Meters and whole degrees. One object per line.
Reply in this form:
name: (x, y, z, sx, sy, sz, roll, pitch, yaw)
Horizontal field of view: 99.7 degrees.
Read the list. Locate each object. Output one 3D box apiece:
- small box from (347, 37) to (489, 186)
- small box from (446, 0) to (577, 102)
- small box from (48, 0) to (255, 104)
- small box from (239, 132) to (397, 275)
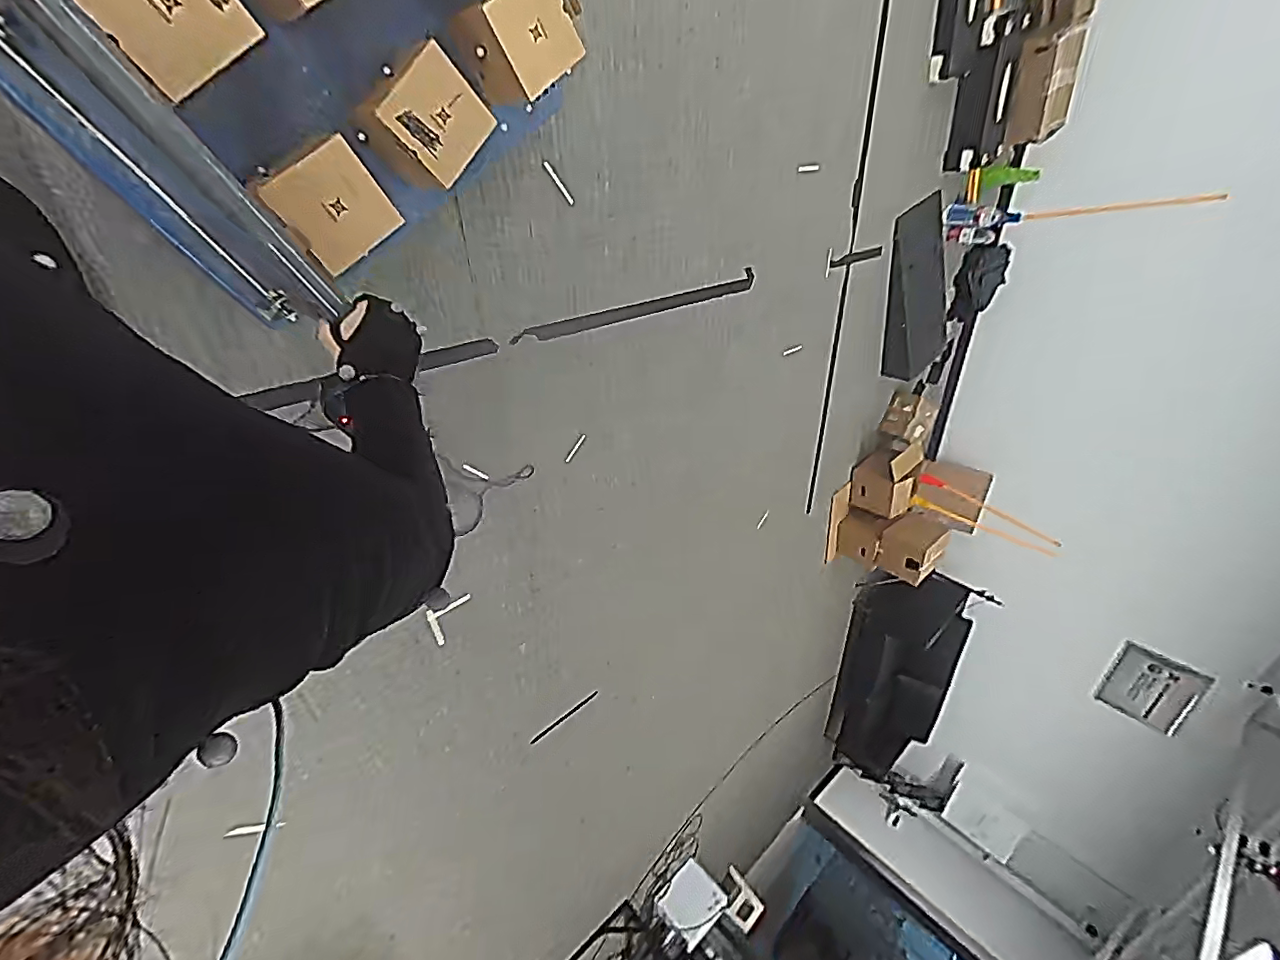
small box: (-0.438, -0.705, 1.054, 0.179, 0.176, 0.168, -57, 140, -6)
small box: (-0.270, -0.913, 1.110, 0.179, 0.176, 0.168, -51, 139, -12)
small box: (-0.711, -0.677, 0.781, 0.179, 0.176, 0.168, -51, 140, -12)
small box: (-0.599, -0.510, 1.001, 0.179, 0.176, 0.168, -49, 139, -15)
